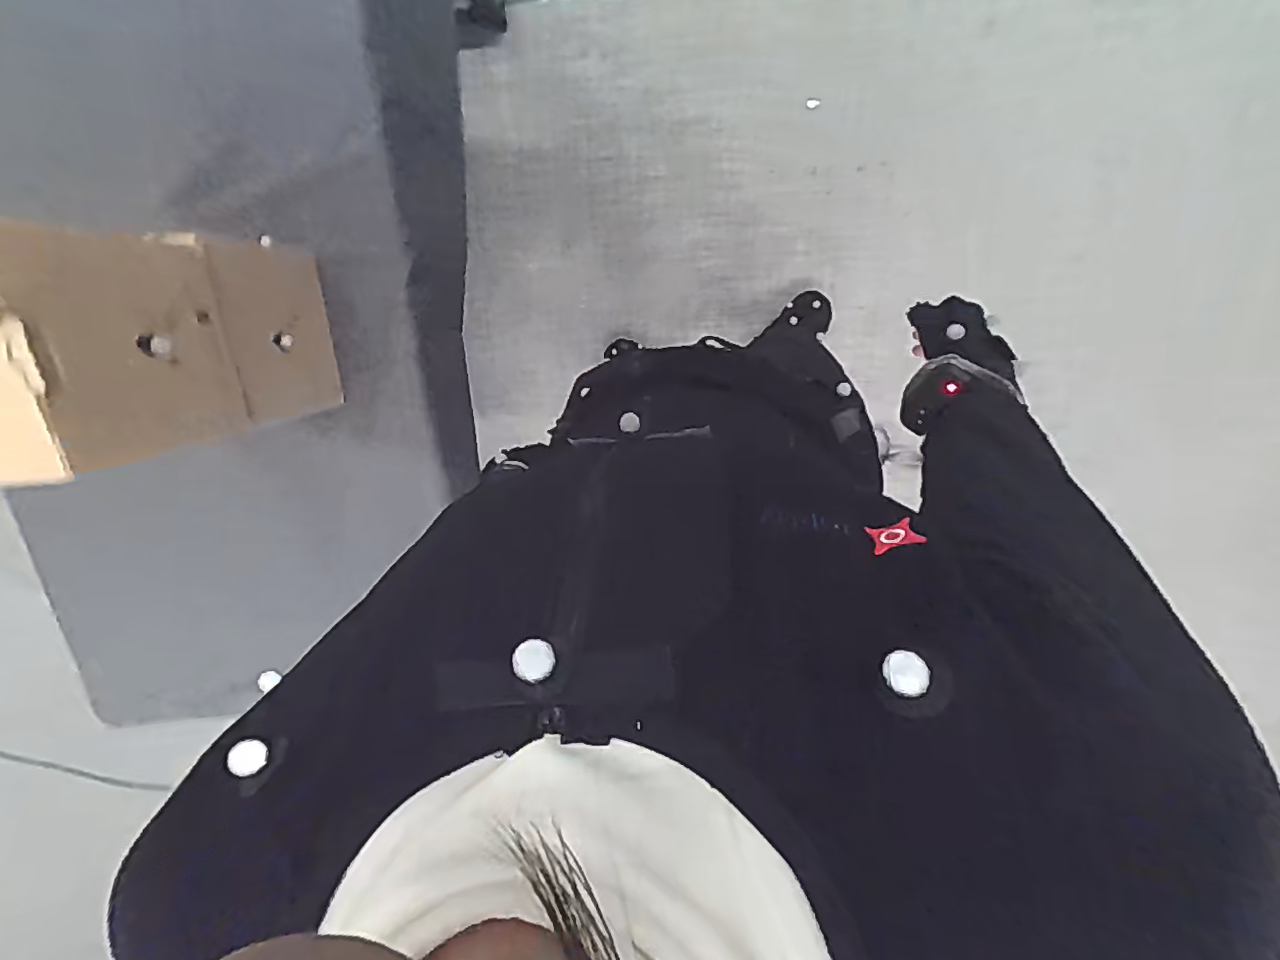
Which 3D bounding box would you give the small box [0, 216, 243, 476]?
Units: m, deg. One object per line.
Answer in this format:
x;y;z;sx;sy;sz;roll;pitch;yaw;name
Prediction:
-0.461;-0.104;0.429;0.179;0.176;0.168;-3;107;4;small box

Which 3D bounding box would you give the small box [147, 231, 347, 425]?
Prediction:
-0.452;-0.158;0.583;0.168;0.176;0.179;-2;108;4;small box
